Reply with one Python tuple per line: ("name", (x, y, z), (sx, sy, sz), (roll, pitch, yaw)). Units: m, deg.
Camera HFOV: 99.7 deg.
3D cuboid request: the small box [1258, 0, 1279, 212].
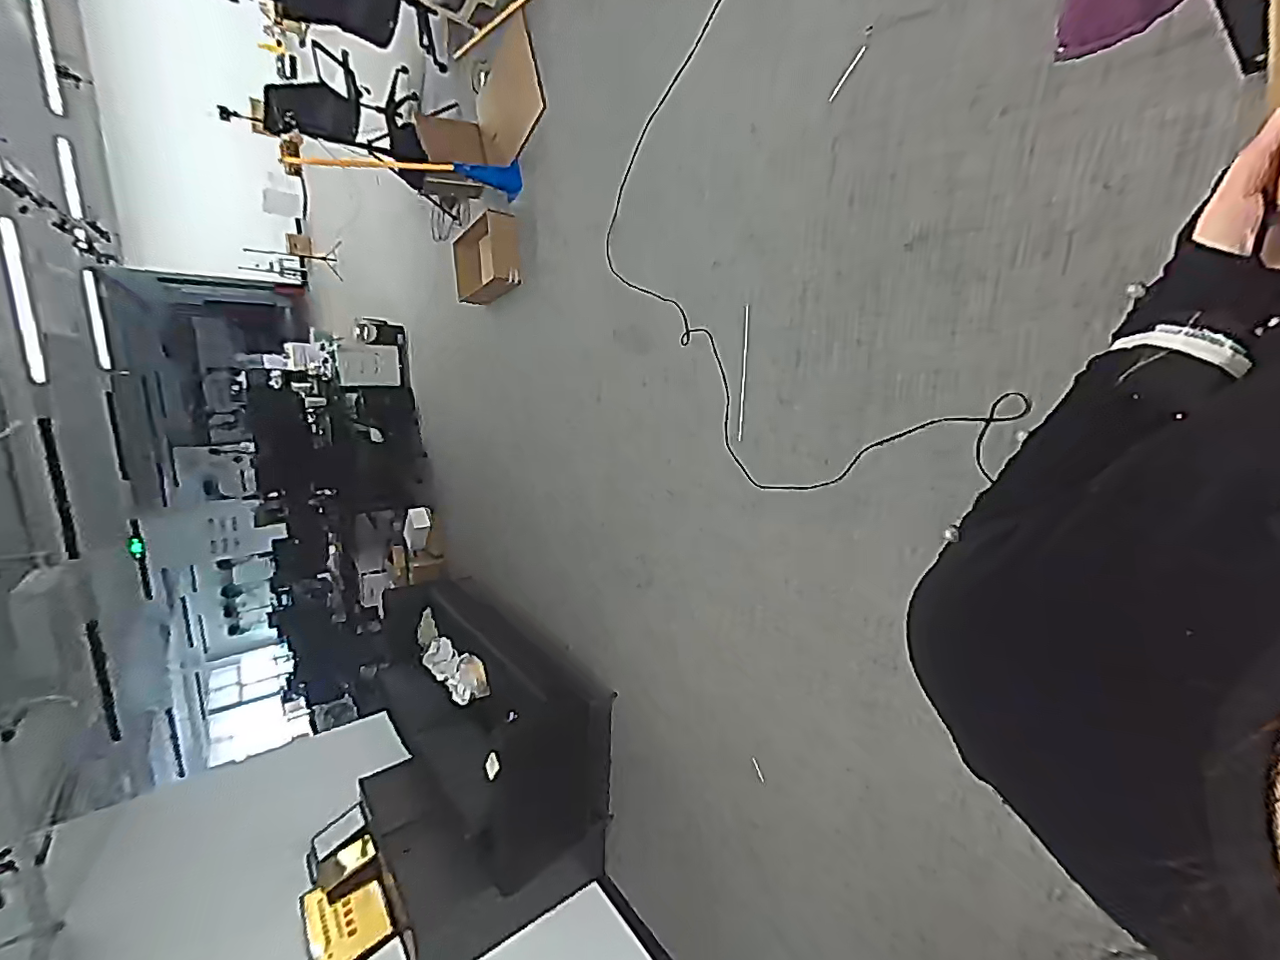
("small box", (0.455, -0.271, 0.265), (0.168, 0.179, 0.176), (4, 89, 34))
